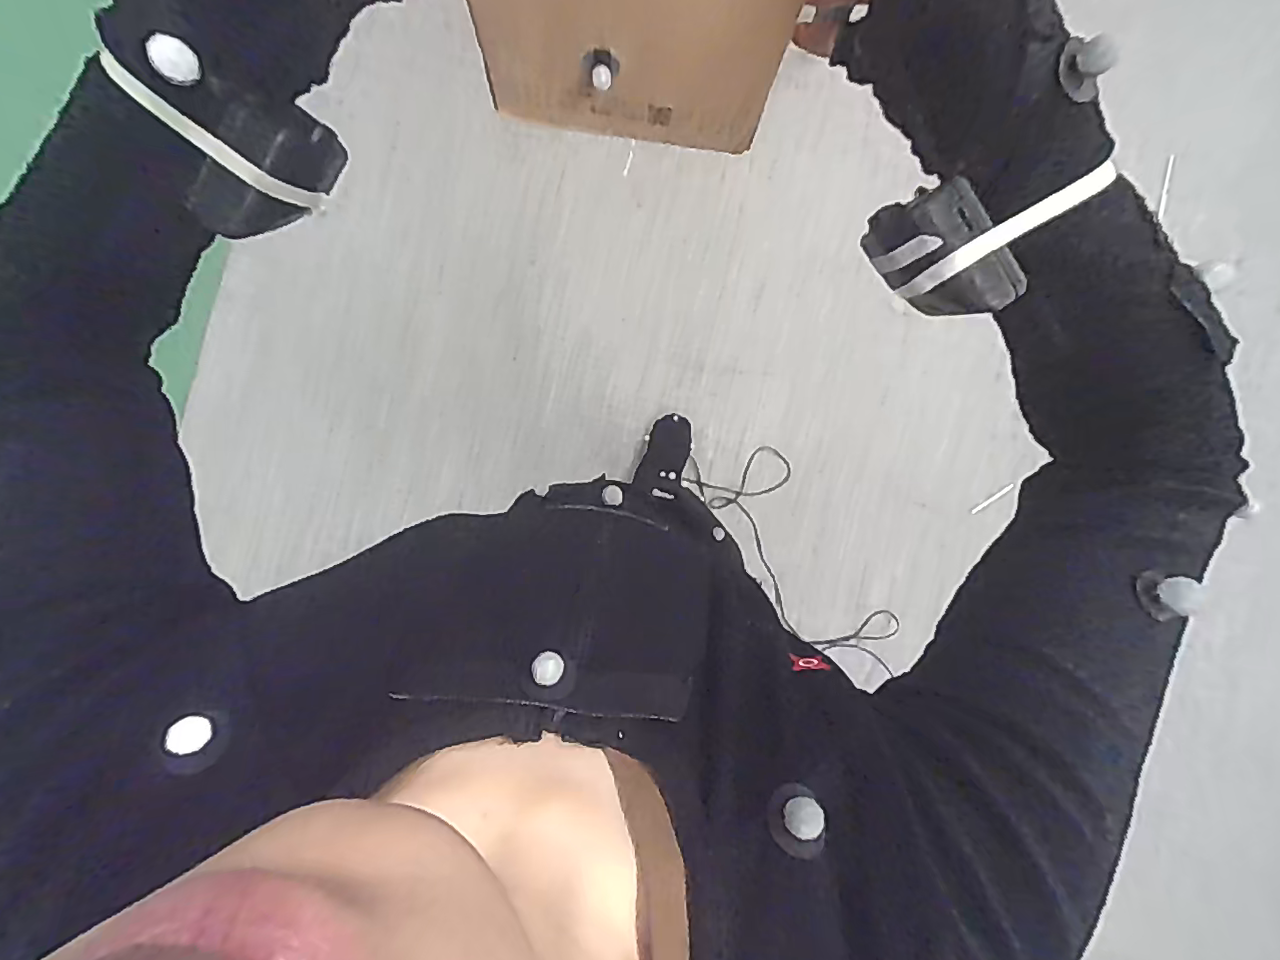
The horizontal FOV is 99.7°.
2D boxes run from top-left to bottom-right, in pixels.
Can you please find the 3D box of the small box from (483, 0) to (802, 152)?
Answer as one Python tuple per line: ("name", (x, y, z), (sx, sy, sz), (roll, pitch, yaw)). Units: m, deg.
("small box", (0.005, -0.319, 0.284), (0.168, 0.176, 0.179), (7, 86, -3))
